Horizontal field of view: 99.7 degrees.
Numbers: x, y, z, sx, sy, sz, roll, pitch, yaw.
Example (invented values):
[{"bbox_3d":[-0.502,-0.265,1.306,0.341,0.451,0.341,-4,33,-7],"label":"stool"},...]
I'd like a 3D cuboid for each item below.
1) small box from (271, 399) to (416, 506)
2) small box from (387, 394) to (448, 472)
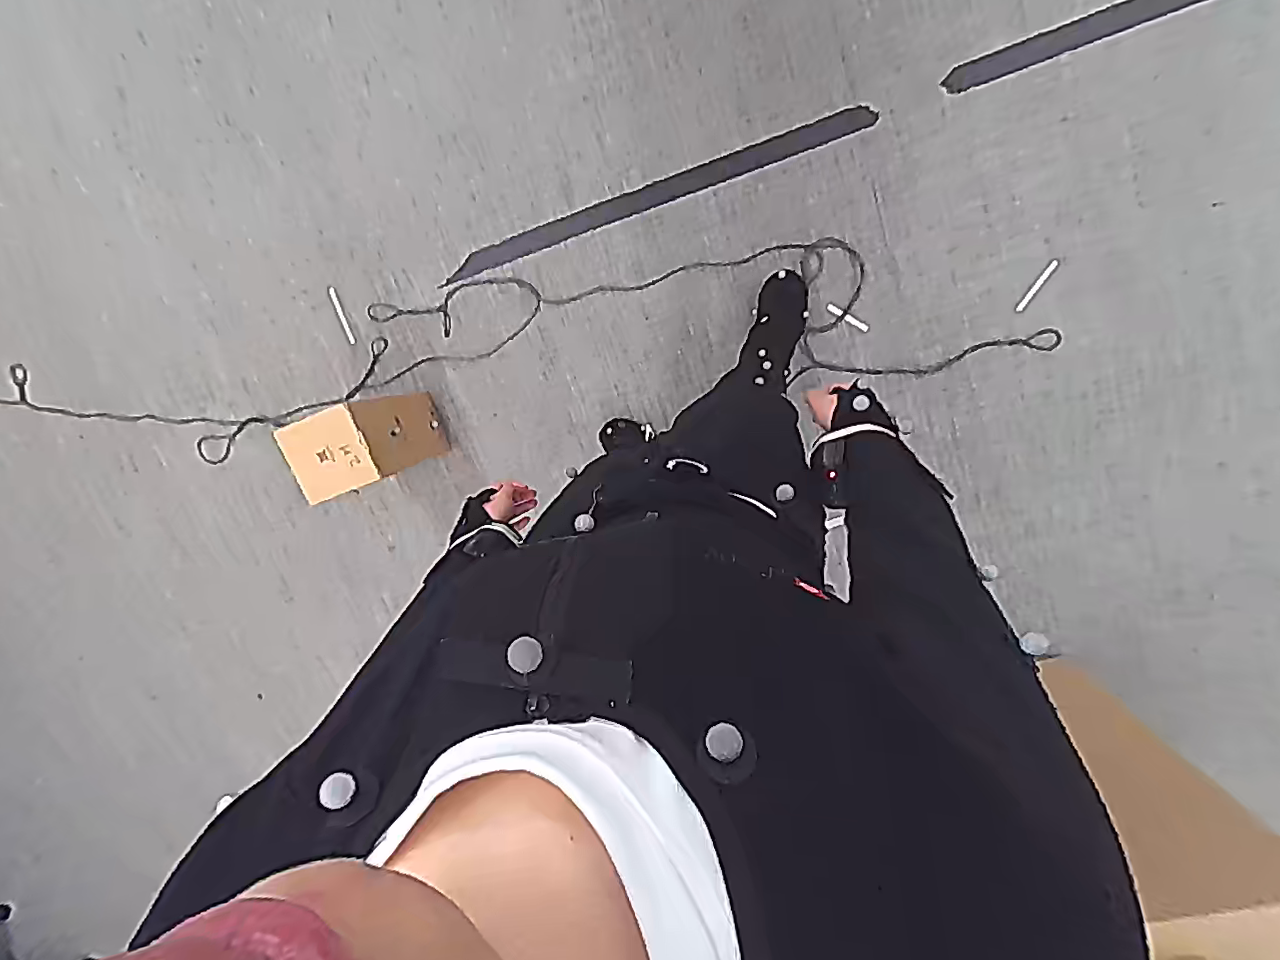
[{"bbox_3d":[-0.615,-0.064,1.144,0.179,0.176,0.168,-19,101,9],"label":"small box"},{"bbox_3d":[-0.600,-0.100,1.304,0.179,0.176,0.168,-18,101,8],"label":"small box"}]
